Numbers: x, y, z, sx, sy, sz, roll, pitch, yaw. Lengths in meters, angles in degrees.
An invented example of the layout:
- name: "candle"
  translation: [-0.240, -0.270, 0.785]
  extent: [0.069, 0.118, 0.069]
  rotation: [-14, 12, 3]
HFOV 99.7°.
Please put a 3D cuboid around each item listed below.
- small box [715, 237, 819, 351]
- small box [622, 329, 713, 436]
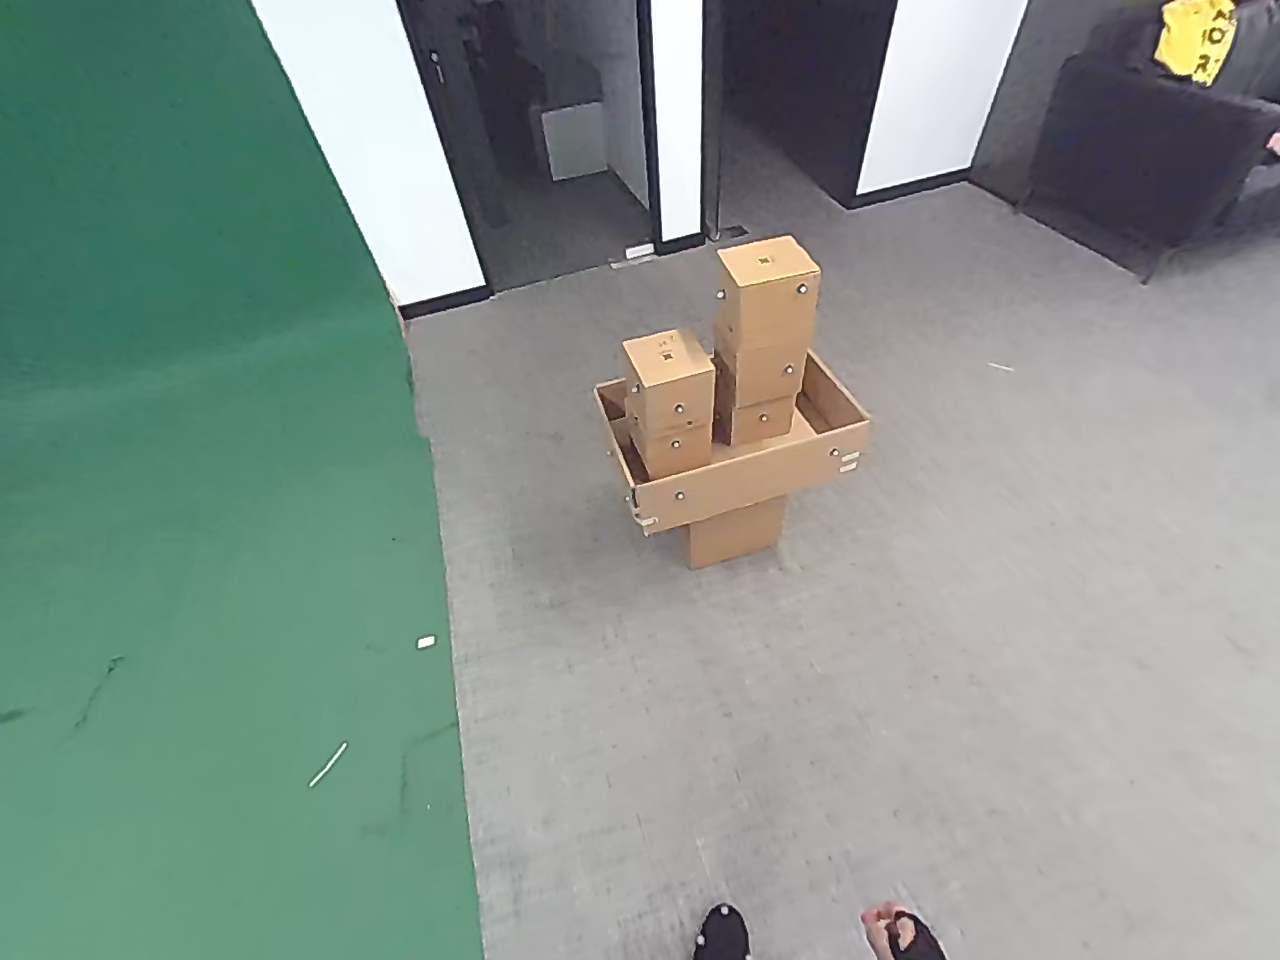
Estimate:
- name: "small box"
  translation: [0.275, -0.408, 1.202]
  extent: [0.179, 0.176, 0.168]
  rotation: [-13, 49, -3]
- name: "small box"
  translation: [0.067, -0.223, 1.278]
  extent: [0.168, 0.176, 0.179]
  rotation: [-16, 51, -8]
